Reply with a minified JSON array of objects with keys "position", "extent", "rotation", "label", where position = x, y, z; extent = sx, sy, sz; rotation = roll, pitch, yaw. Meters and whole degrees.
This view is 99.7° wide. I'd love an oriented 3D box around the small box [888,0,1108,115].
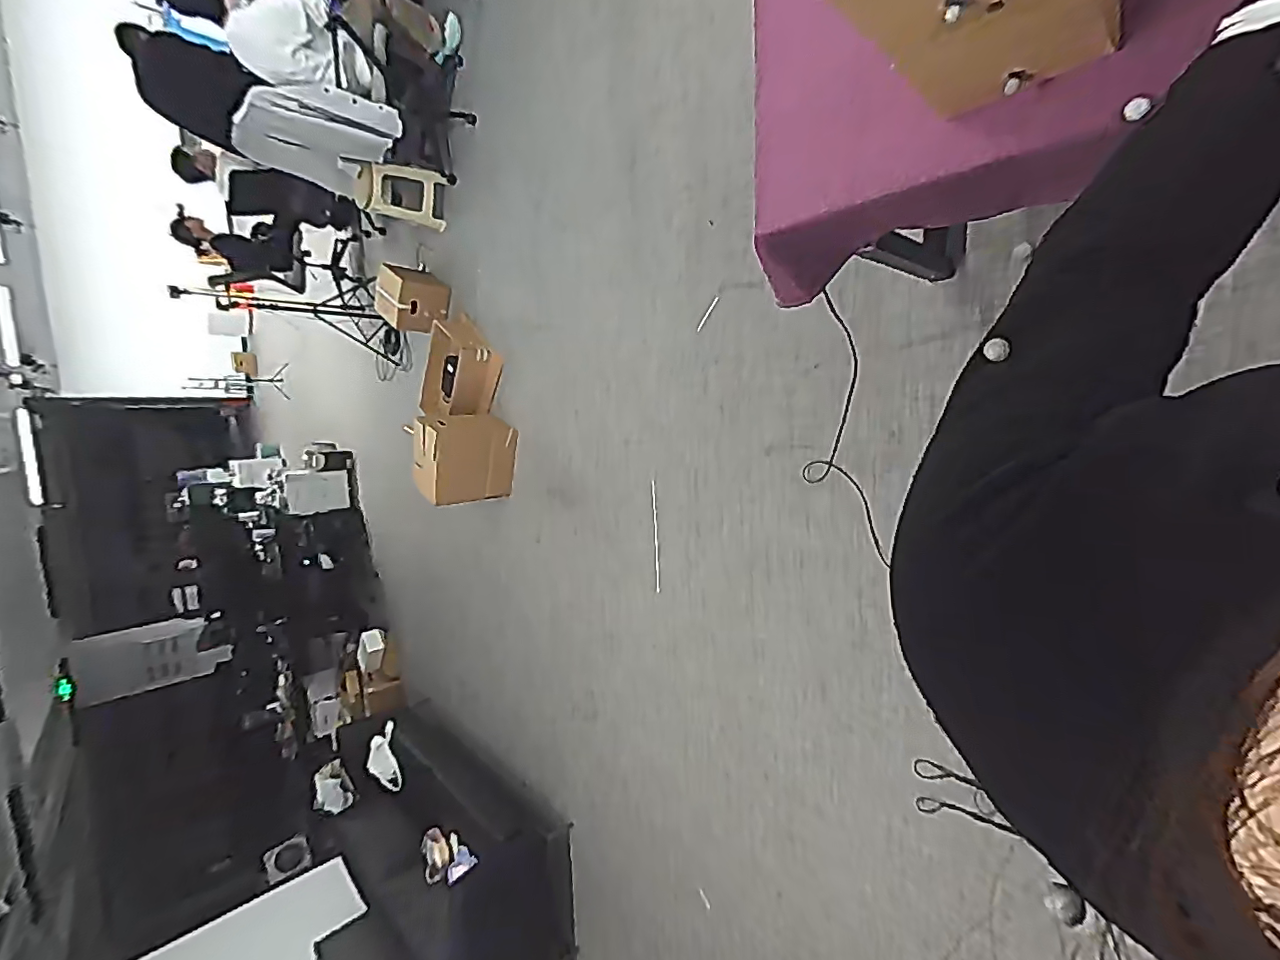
[{"position":[0.390,-0.542,0.586],"extent":[0.179,0.176,0.168],"rotation":[3,98,47],"label":"small box"}]
